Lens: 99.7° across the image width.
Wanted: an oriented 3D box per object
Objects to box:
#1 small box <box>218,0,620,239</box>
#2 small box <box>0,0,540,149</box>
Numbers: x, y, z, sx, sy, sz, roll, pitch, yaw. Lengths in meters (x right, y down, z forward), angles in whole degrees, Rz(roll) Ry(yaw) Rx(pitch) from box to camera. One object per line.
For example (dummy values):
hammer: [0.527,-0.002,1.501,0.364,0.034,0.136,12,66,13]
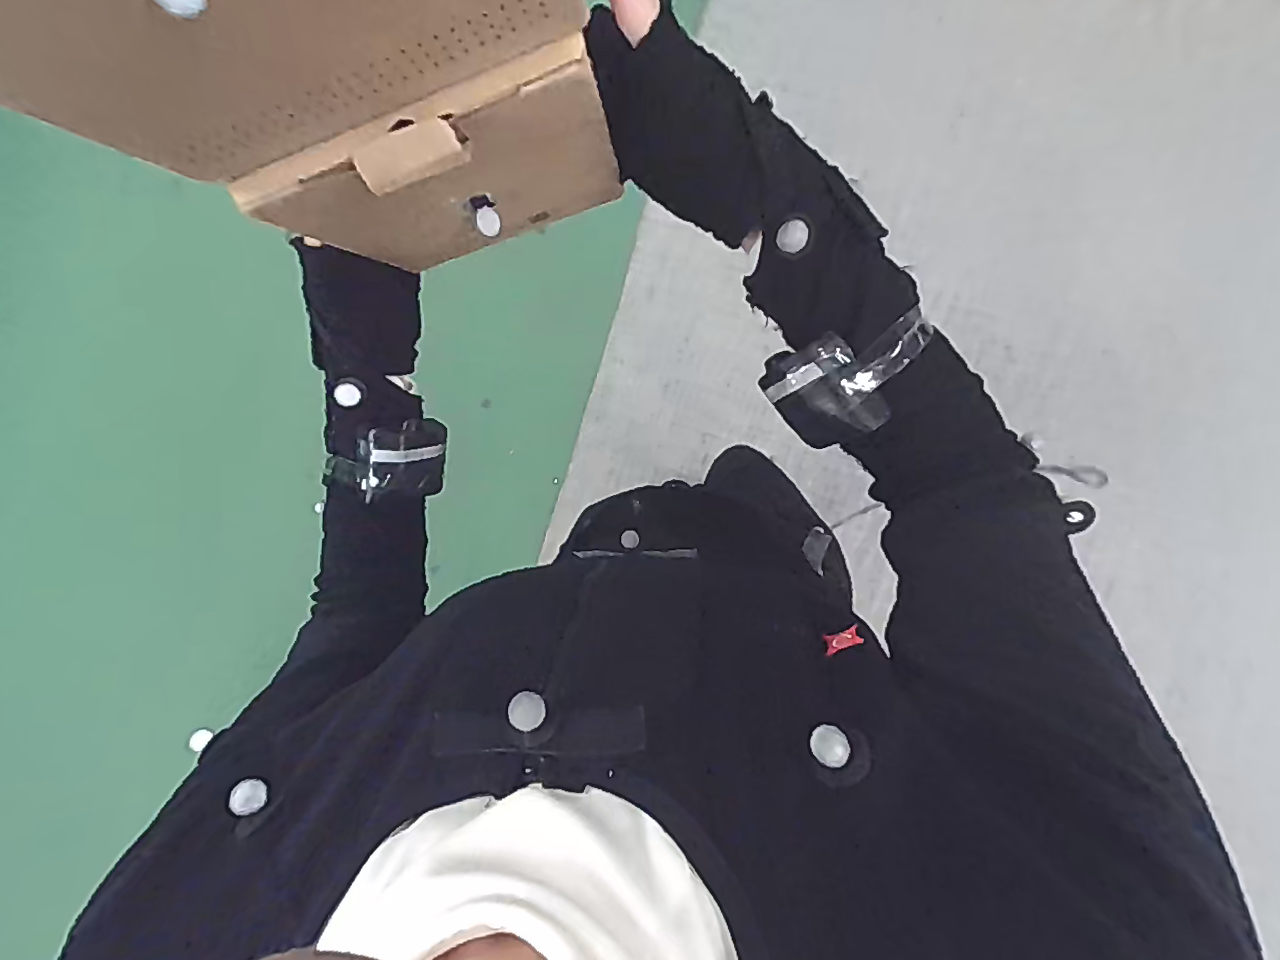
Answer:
small box: [-0.115,-0.244,0.287,0.168,0.176,0.179,-14,101,7]
small box: [-0.128,-0.215,0.125,0.179,0.176,0.168,-14,101,8]
